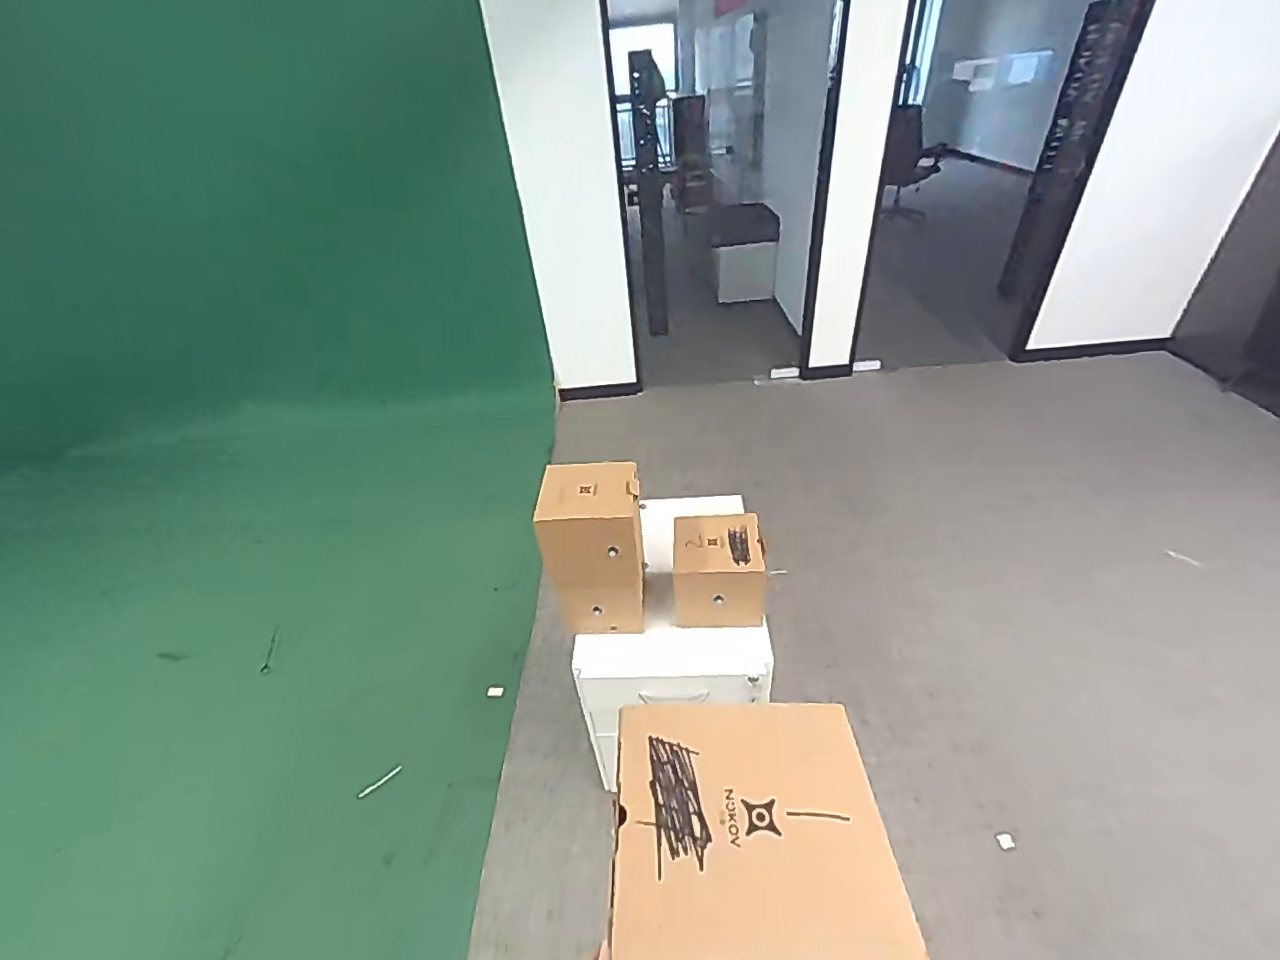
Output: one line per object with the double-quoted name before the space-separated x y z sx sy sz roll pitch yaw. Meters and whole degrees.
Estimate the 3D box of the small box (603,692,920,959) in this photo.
"small box" 0.070 0.281 0.402 0.179 0.176 0.168 0 33 2

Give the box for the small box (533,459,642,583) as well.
"small box" -0.089 0.078 1.023 0.179 0.176 0.168 -3 37 3

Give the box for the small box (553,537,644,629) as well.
"small box" -0.078 0.197 1.134 0.168 0.176 0.179 -1 38 3
